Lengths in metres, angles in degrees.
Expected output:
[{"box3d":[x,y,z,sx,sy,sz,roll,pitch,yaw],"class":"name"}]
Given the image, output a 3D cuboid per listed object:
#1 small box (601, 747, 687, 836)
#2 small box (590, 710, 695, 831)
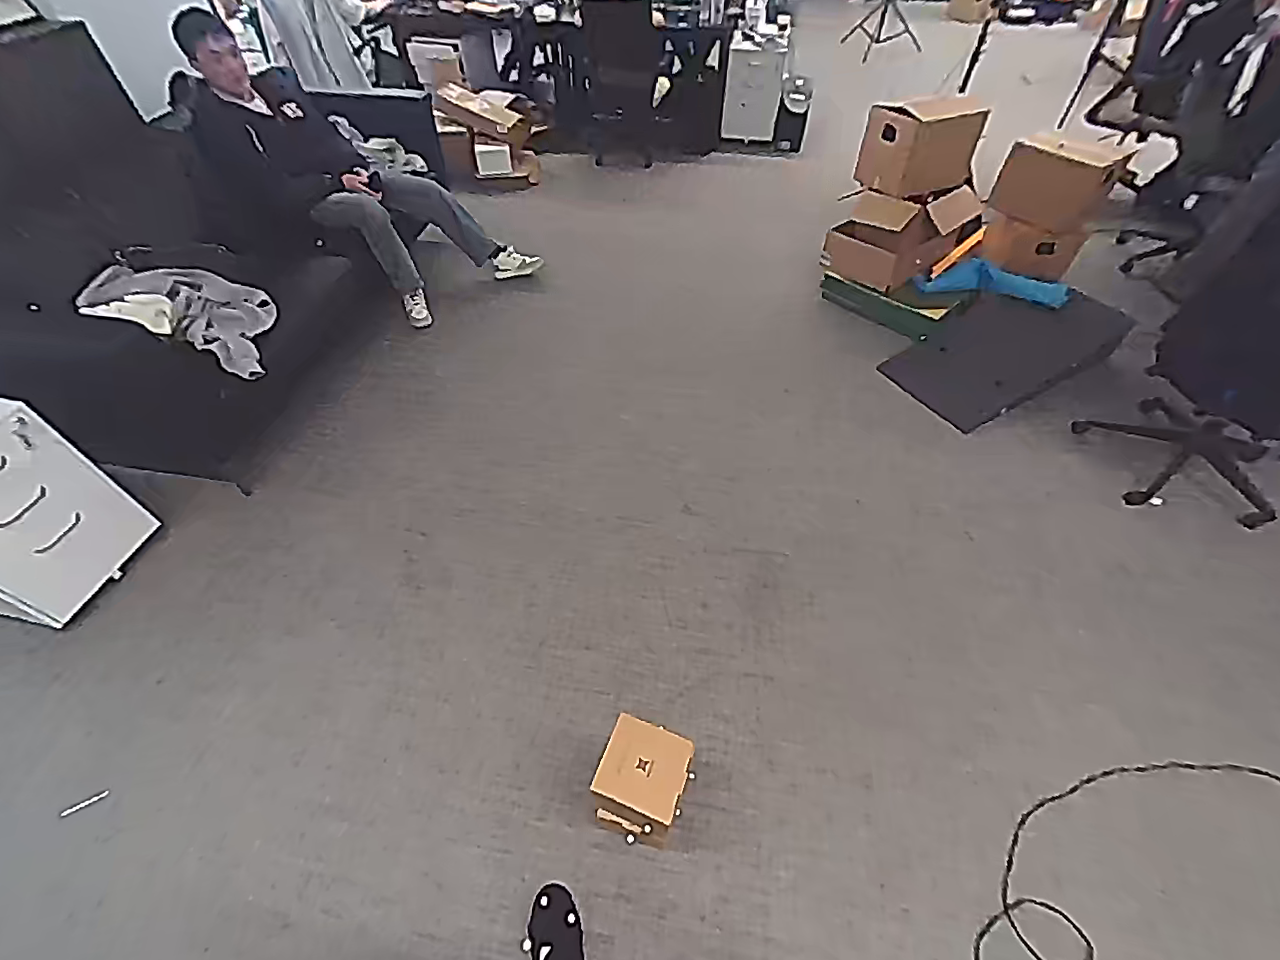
[{"box3d":[0.011,0.738,1.308,0.179,0.176,0.168,-11,48,-6],"class":"small box"},{"box3d":[0.010,0.642,1.187,0.179,0.176,0.168,16,50,16],"class":"small box"}]
